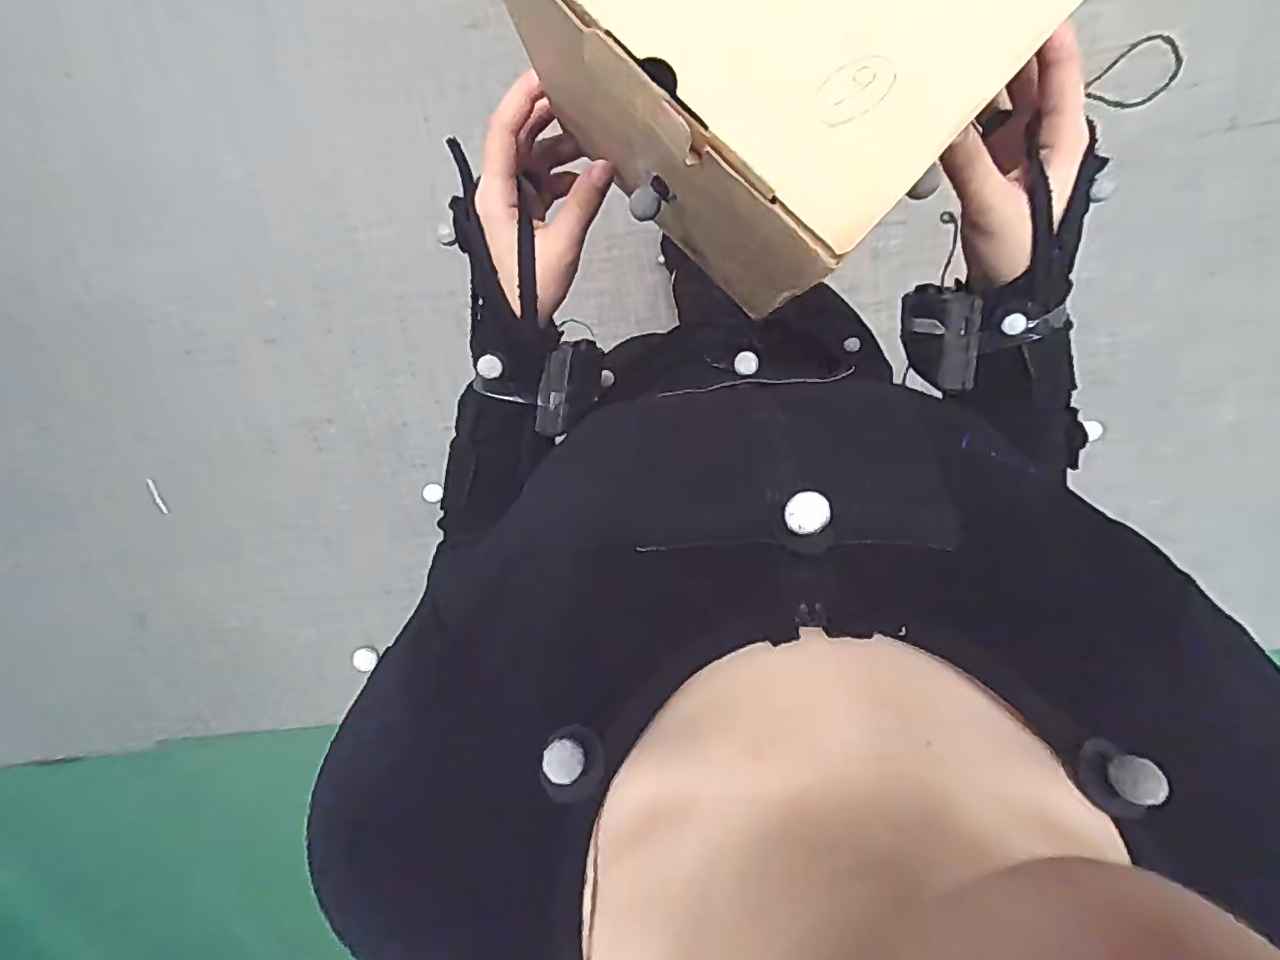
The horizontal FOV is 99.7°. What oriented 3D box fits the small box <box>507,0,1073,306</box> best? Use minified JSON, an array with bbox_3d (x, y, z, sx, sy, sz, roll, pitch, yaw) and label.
[{"bbox_3d":[0.069,-0.205,0.250,0.168,0.176,0.179,42,100,-4],"label":"small box"}]
